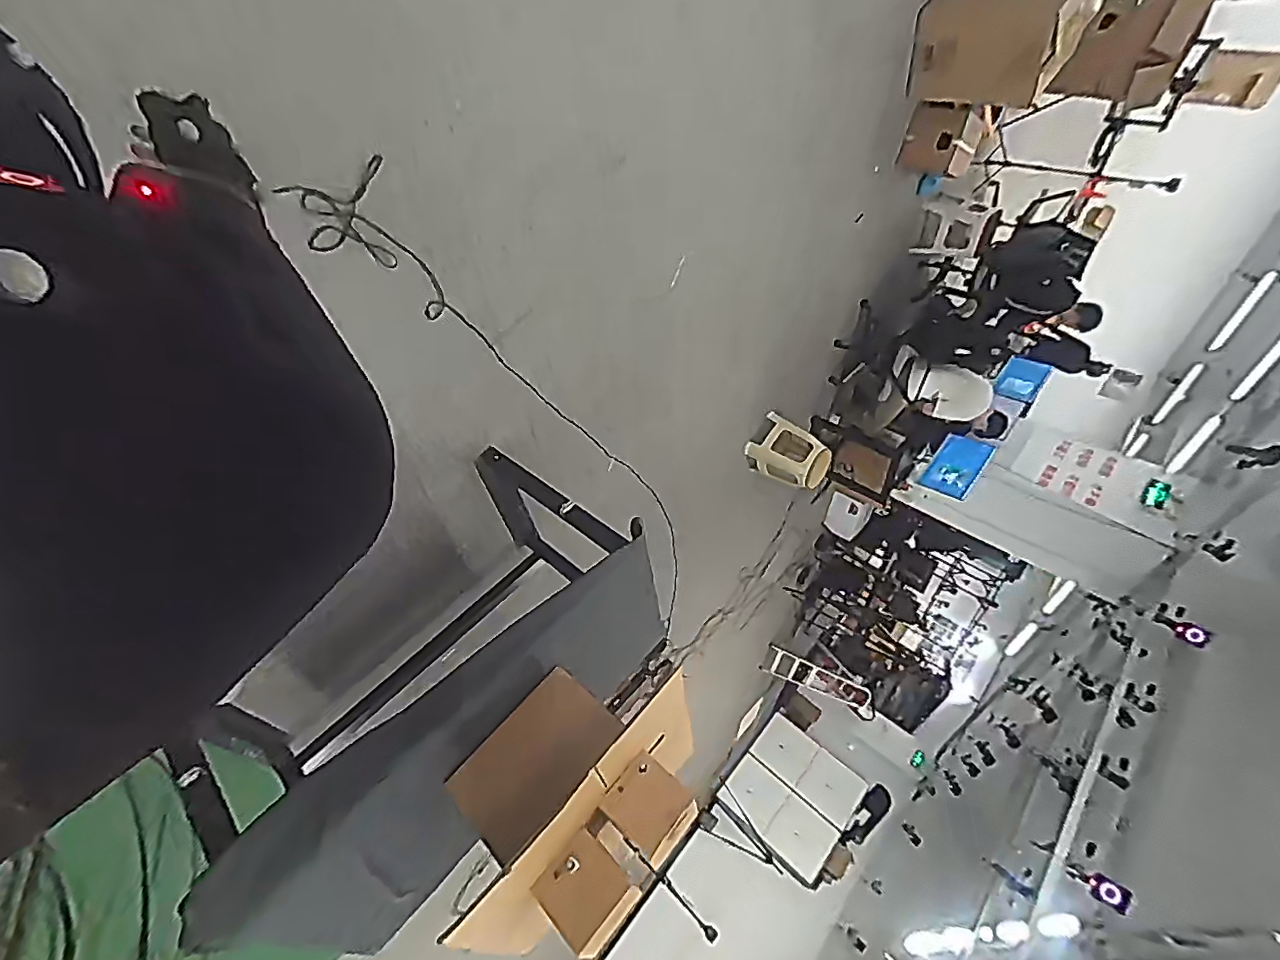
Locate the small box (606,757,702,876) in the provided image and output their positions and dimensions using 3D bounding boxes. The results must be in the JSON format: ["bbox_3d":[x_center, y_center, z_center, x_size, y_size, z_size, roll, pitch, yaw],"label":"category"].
[{"bbox_3d":[0.034,0.817,1.323,0.168,0.176,0.179,-42,144,-26],"label":"small box"}]
